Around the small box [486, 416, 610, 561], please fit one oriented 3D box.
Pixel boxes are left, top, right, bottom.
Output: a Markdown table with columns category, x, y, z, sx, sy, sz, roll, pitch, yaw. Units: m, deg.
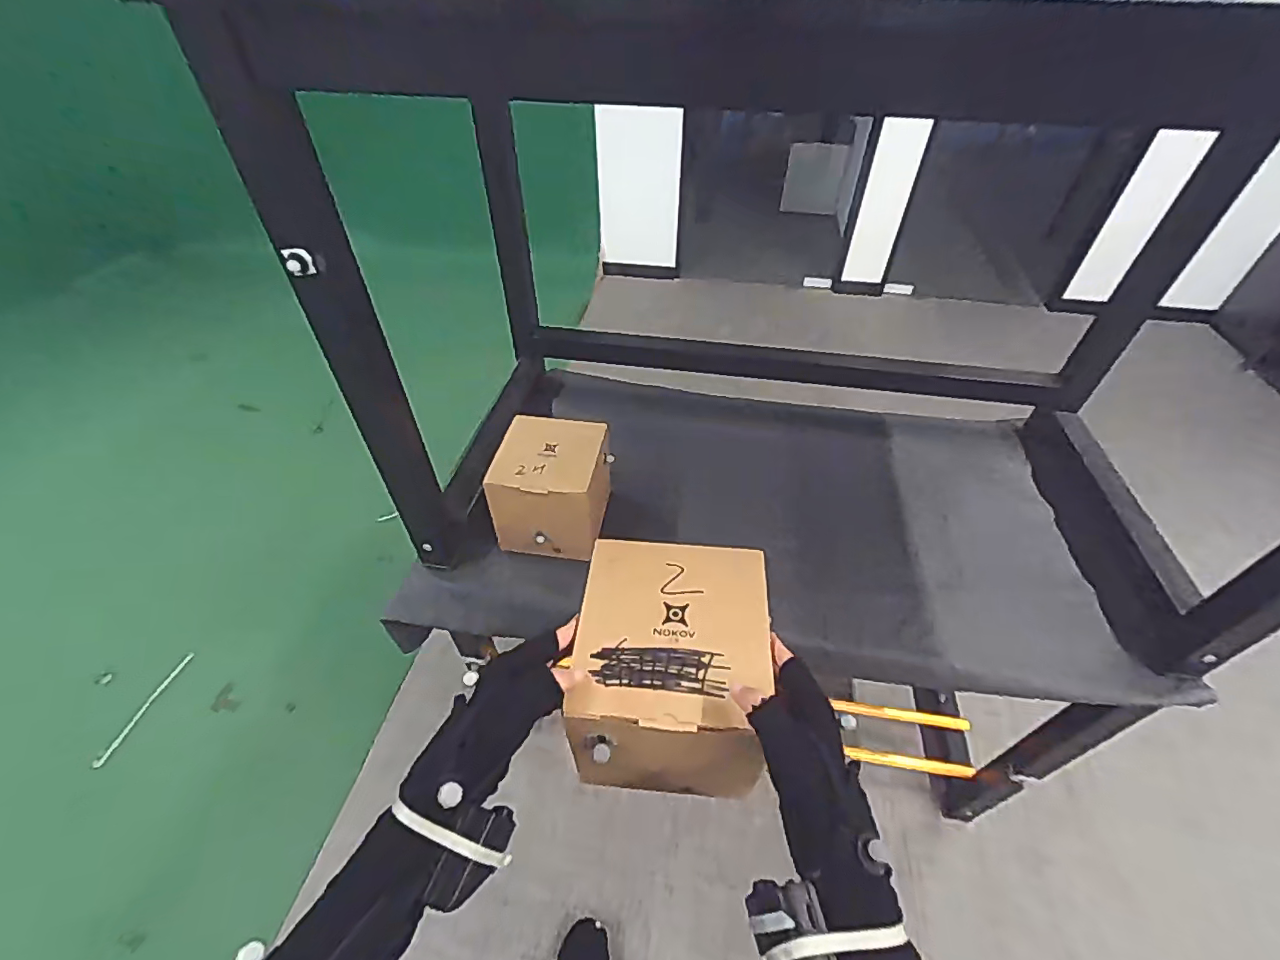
| category | x | y | z | sx | sy | sz | roll | pitch | yaw |
| --- | --- | --- | --- | --- | --- | --- | --- | --- | --- |
| small box | -0.148 | 0.014 | 0.937 | 0.168 | 0.176 | 0.179 | 6 | 45 | 6 |
